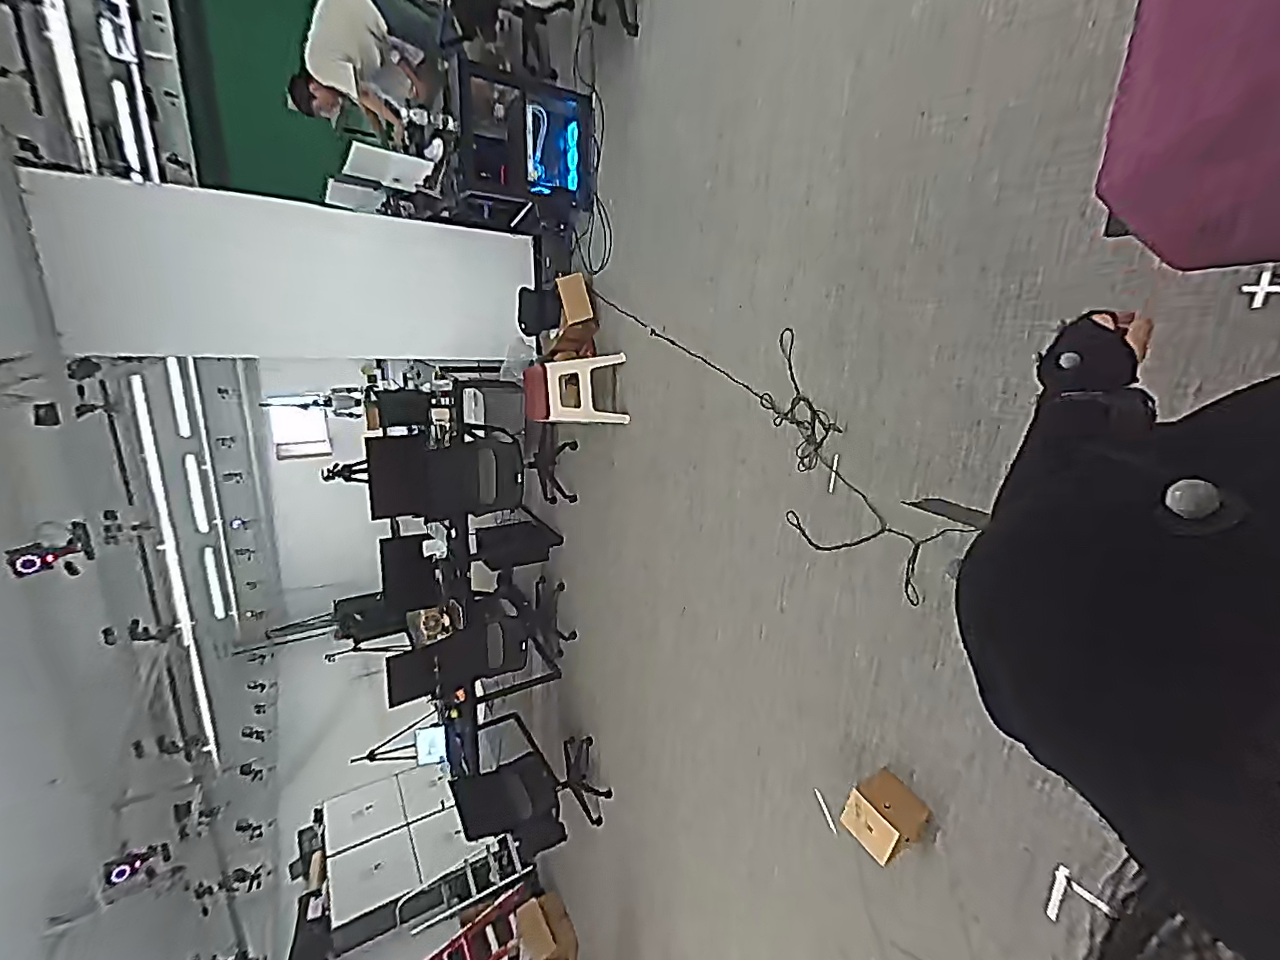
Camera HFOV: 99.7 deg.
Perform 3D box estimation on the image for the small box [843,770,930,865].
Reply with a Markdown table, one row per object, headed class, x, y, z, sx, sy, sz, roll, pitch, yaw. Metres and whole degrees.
| class | x | y | z | sx | sy | sz | roll | pitch | yaw |
| --- | --- | --- | --- | --- | --- | --- | --- | --- | --- |
| small box | 0.804 | 1.090 | 1.763 | 0.179 | 0.176 | 0.168 | 39 | 128 | 49 |
